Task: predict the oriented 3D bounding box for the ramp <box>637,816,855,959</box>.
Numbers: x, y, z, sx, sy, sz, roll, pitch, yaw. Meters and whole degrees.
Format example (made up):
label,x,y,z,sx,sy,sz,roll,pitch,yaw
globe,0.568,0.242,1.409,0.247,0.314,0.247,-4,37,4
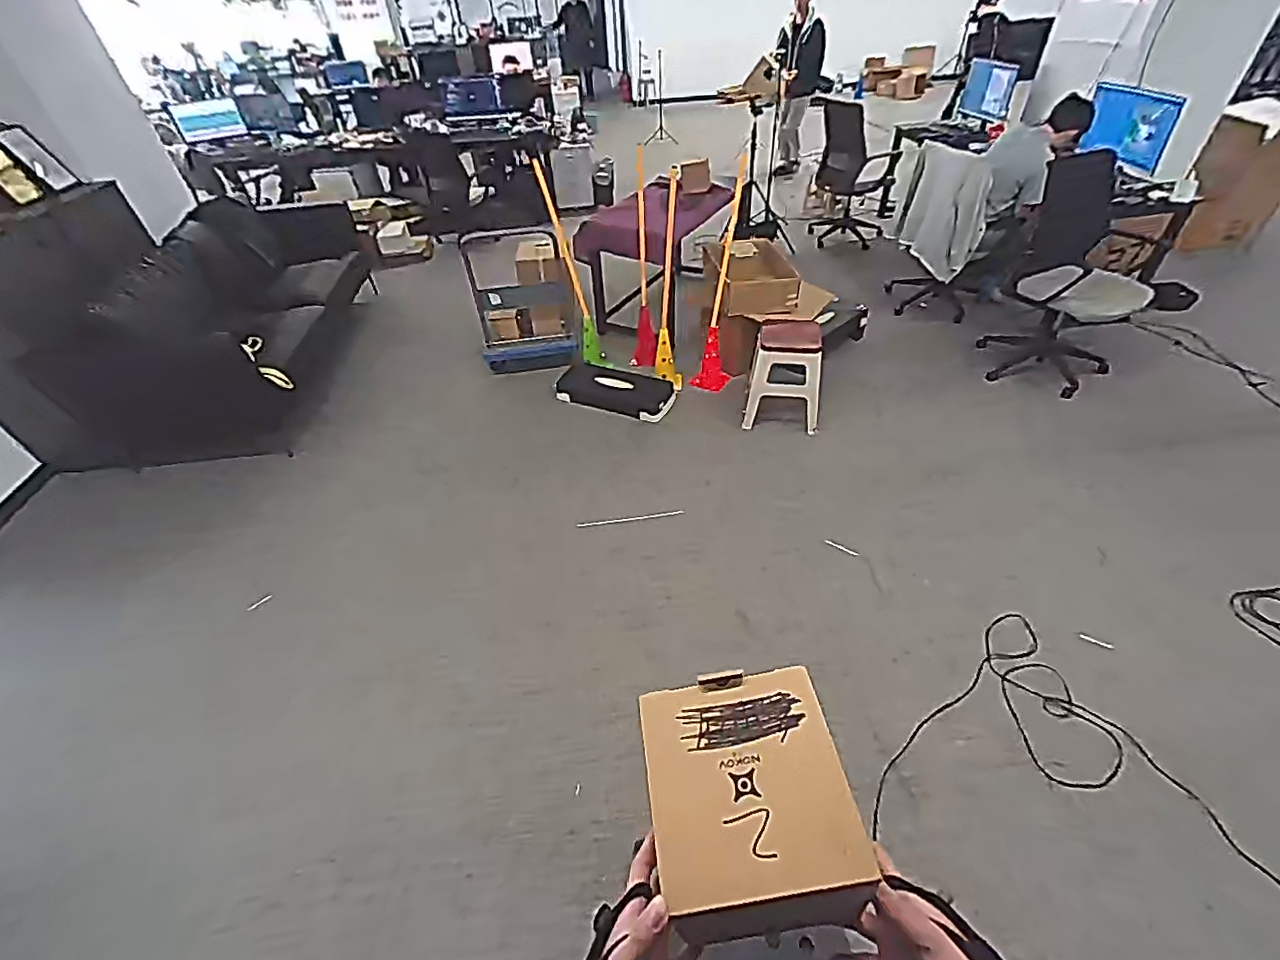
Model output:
label,x,y,z,sx,sy,sz,roll,pitch,yaw
ramp,0.283,1.249,1.105,0.509,0.206,0.991,-9,42,-4
